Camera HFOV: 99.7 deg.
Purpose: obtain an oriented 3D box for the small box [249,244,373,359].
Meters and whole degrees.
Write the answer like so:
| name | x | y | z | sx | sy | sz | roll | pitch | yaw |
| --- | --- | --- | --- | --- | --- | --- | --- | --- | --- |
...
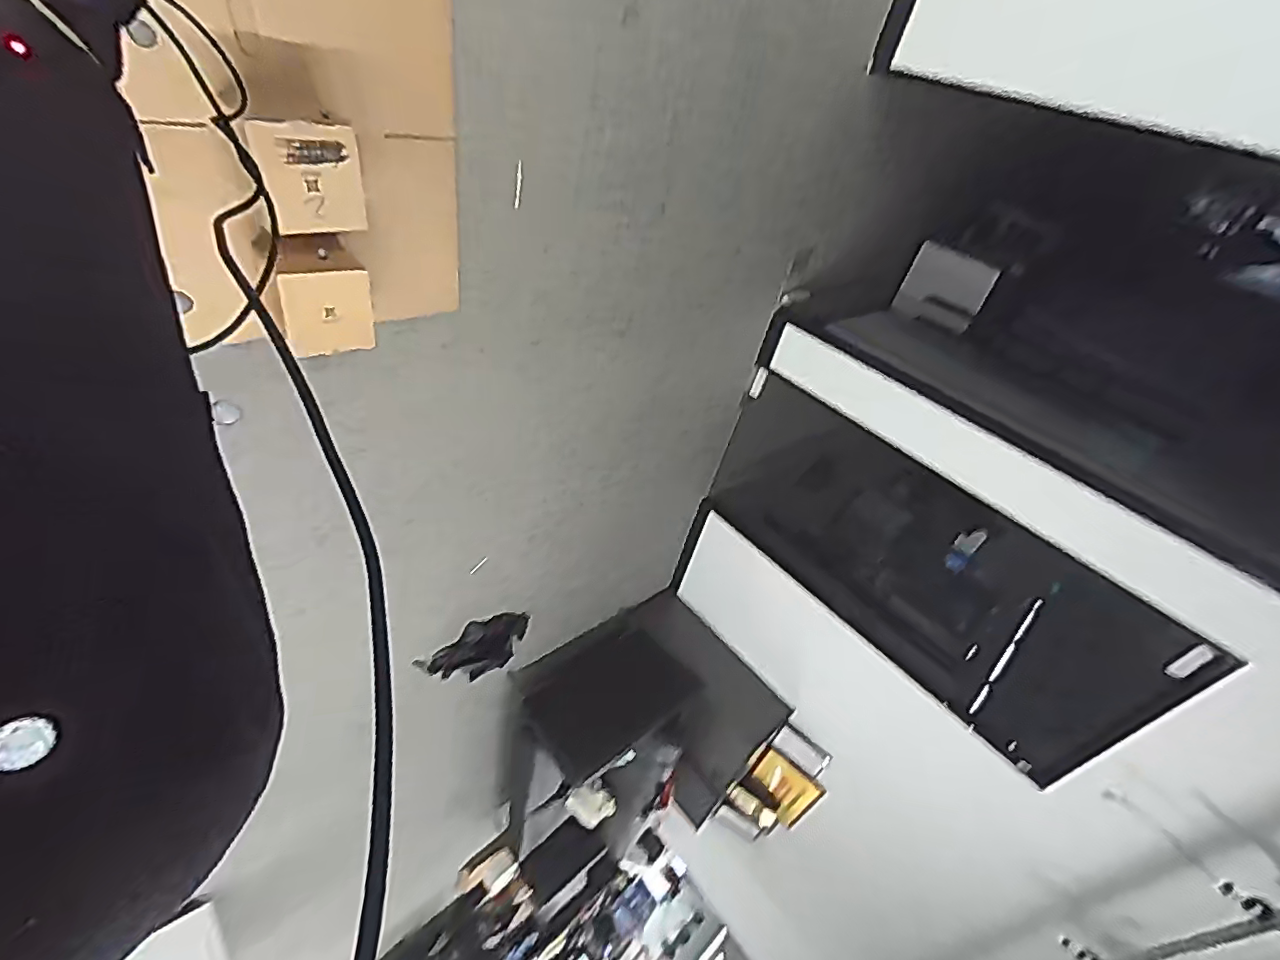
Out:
| name | x | y | z | sx | sy | sz | roll | pitch | yaw |
| --- | --- | --- | --- | --- | --- | --- | --- | --- | --- |
| small box | -0.679 | -0.377 | 1.121 | 0.168 | 0.176 | 0.179 | -22 | 142 | -38 |
